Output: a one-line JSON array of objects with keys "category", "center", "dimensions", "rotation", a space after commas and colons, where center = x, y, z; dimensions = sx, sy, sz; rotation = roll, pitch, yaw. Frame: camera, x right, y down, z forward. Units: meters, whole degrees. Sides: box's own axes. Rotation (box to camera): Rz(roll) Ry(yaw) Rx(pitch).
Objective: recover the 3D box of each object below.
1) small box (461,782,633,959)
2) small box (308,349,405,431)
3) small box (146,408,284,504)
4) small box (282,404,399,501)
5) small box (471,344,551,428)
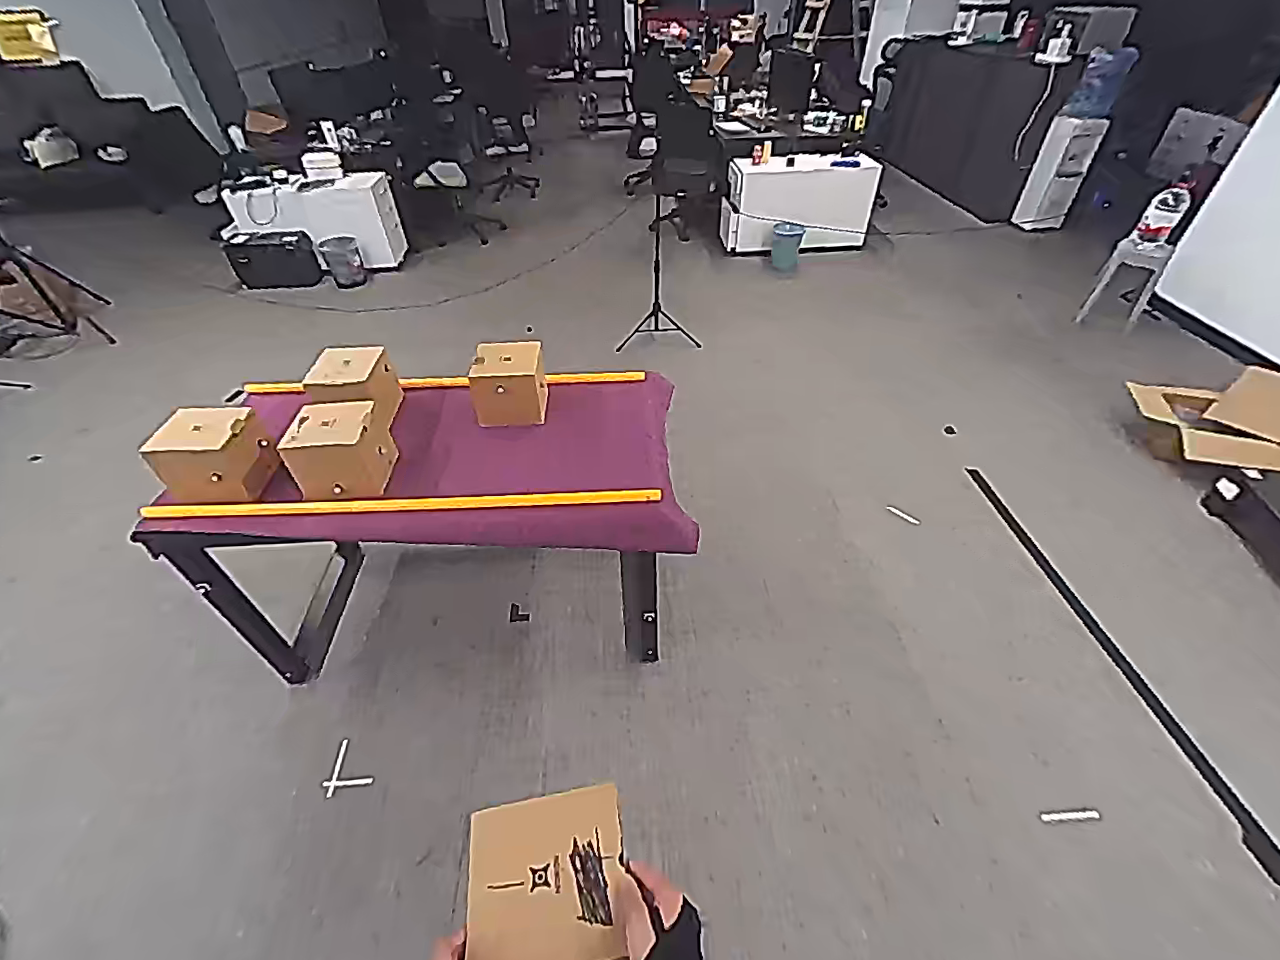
[{"category": "small box", "center": [-0.106, 0.494, 0.651], "dimensions": [0.179, 0.176, 0.168], "rotation": [-7, 41, -7]}, {"category": "small box", "center": [-0.772, -0.244, 1.498], "dimensions": [0.168, 0.176, 0.179], "rotation": [-2, 45, 0]}, {"category": "small box", "center": [-1.002, -0.055, 1.299], "dimensions": [0.179, 0.176, 0.168], "rotation": [-1, 42, -3]}, {"category": "small box", "center": [-0.707, -0.065, 1.304], "dimensions": [0.179, 0.176, 0.168], "rotation": [-3, 43, -2]}, {"category": "small box", "center": [-0.349, -0.260, 1.505], "dimensions": [0.179, 0.176, 0.168], "rotation": [-3, 44, 0]}]
